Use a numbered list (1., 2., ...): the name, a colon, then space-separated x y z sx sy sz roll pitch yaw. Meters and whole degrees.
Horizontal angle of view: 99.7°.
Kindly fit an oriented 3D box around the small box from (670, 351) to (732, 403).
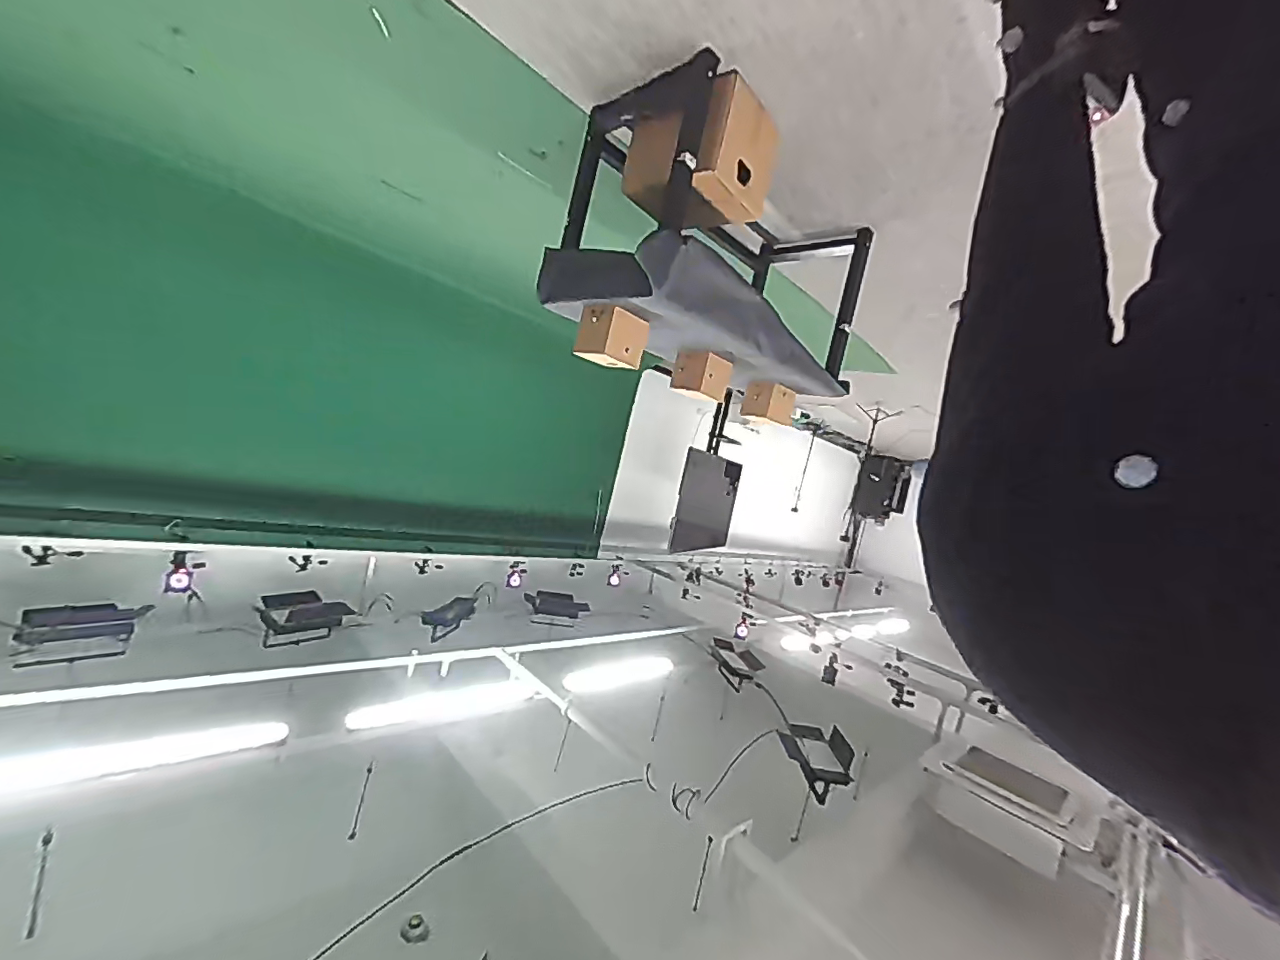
1. small box: 0.254 -0.426 2.227 0.168 0.176 0.179 18 -175 42

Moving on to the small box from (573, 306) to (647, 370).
1. small box: -0.099 -0.493 1.876 0.168 0.176 0.179 15 -178 41

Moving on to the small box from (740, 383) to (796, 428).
1. small box: 0.599 -0.350 2.524 0.179 0.176 0.168 13 -178 -39
